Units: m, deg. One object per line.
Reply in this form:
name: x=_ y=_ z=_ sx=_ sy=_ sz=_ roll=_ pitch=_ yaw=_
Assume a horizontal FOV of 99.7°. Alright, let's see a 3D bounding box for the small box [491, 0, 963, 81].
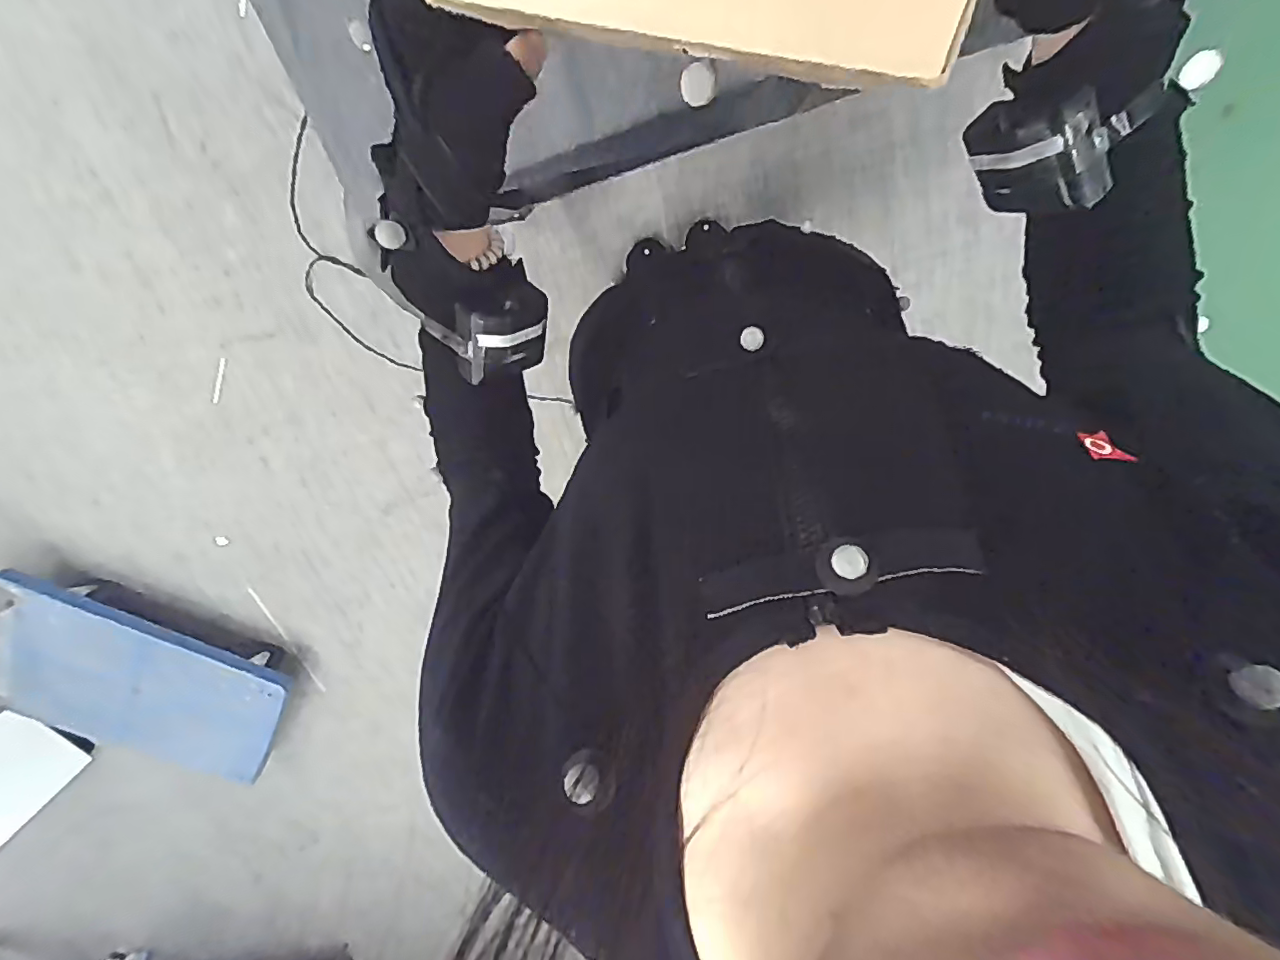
small box: x=0.028 y=-0.256 z=0.182 sx=0.176 sy=0.168 sz=0.179 roll=7 pitch=126 yaw=-1
